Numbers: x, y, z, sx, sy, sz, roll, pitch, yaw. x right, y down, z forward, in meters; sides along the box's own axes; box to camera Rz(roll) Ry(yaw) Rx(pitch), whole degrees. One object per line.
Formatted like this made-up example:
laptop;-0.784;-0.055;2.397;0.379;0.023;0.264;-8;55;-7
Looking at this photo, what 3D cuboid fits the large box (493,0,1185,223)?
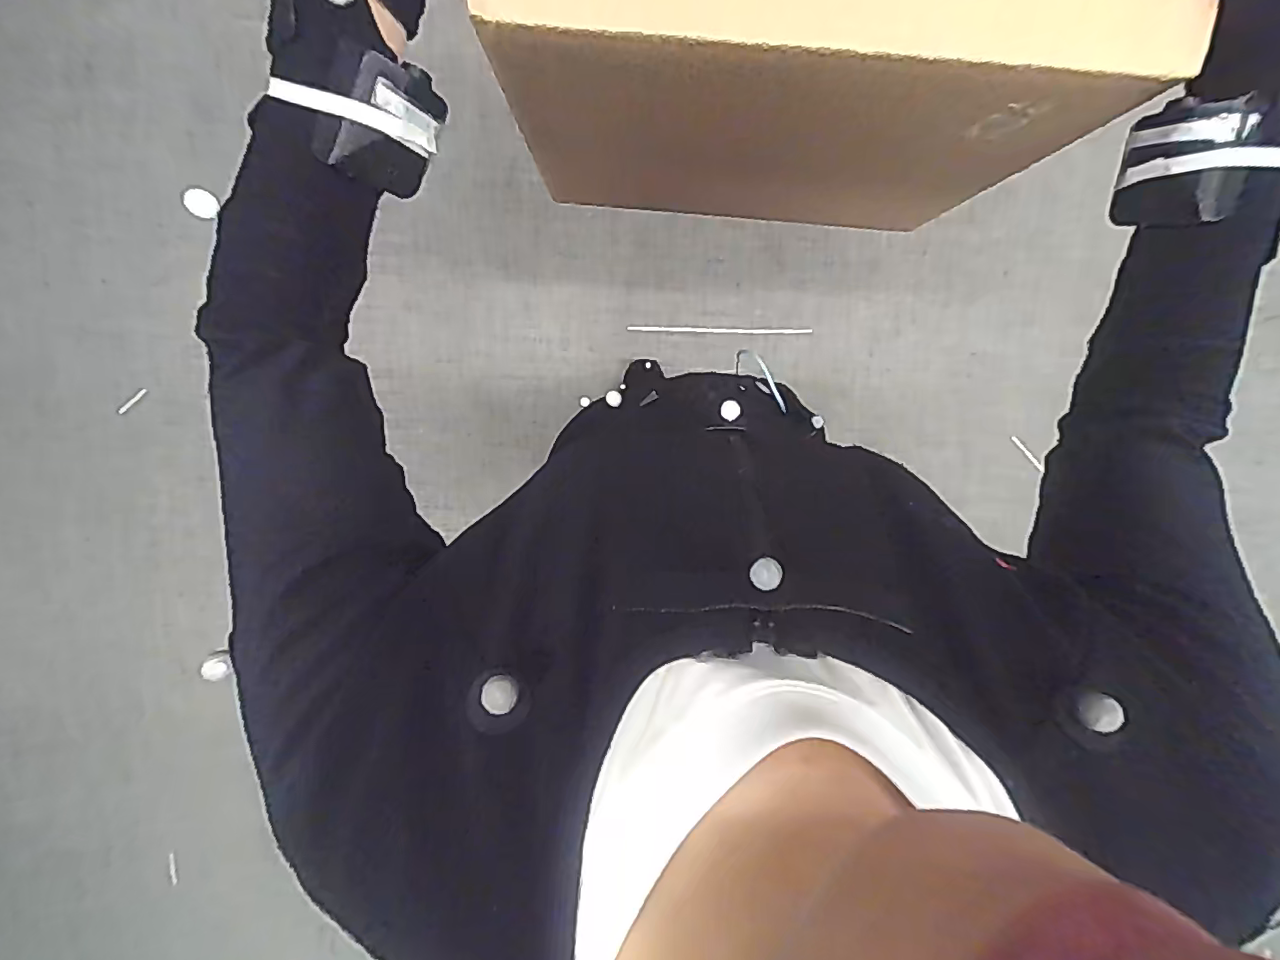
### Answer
large box;0.114;-0.420;0.431;0.408;0.320;0.320;3;100;-2
